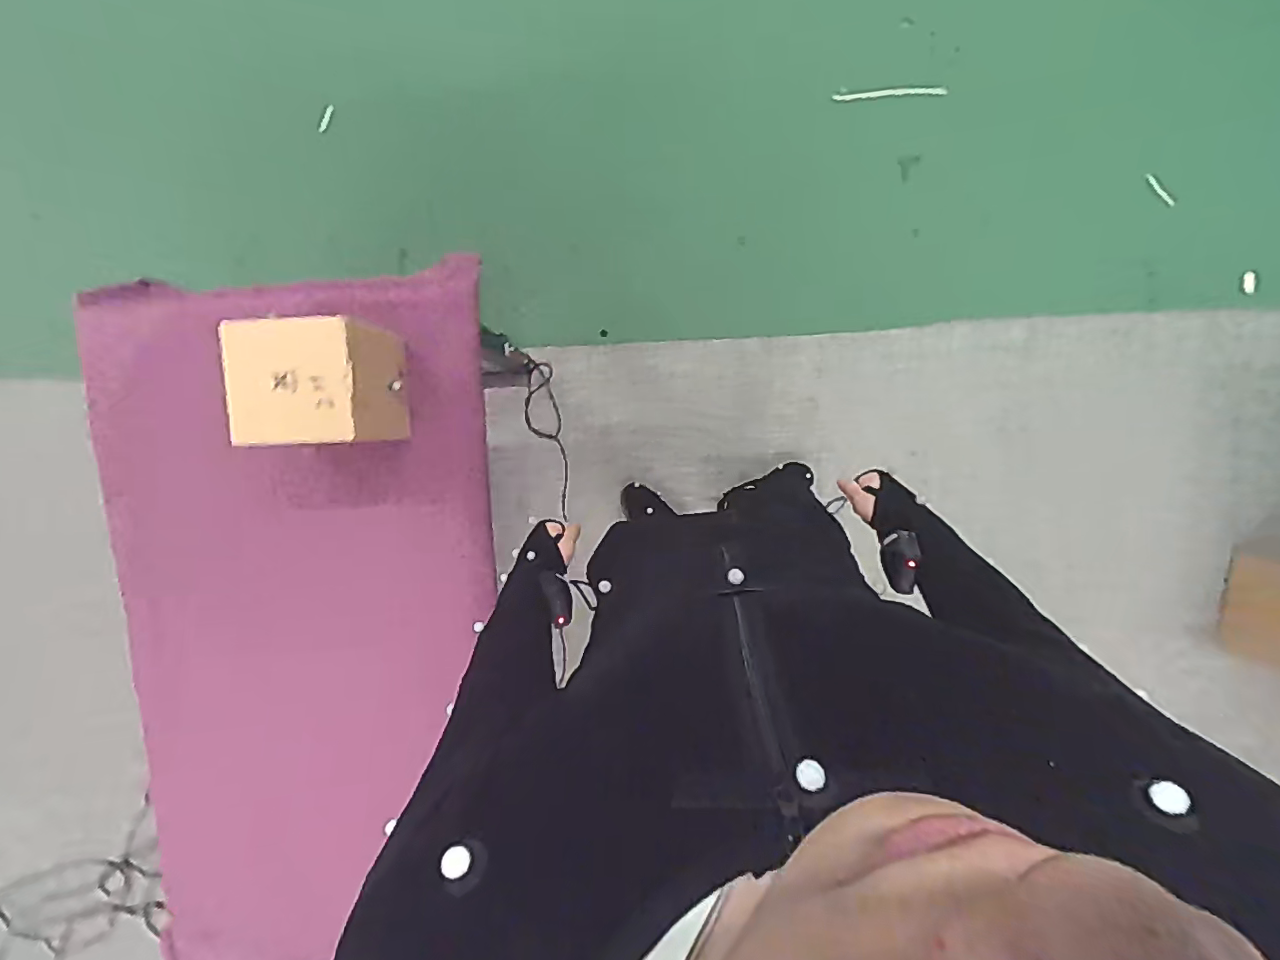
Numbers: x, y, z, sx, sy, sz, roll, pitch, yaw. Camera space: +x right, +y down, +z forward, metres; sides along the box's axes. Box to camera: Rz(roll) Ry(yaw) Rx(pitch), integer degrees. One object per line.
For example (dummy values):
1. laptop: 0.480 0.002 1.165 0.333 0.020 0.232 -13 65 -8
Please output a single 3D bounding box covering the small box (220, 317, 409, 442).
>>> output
1. small box: -0.470 -0.140 0.805 0.179 0.176 0.168 -2 96 2
